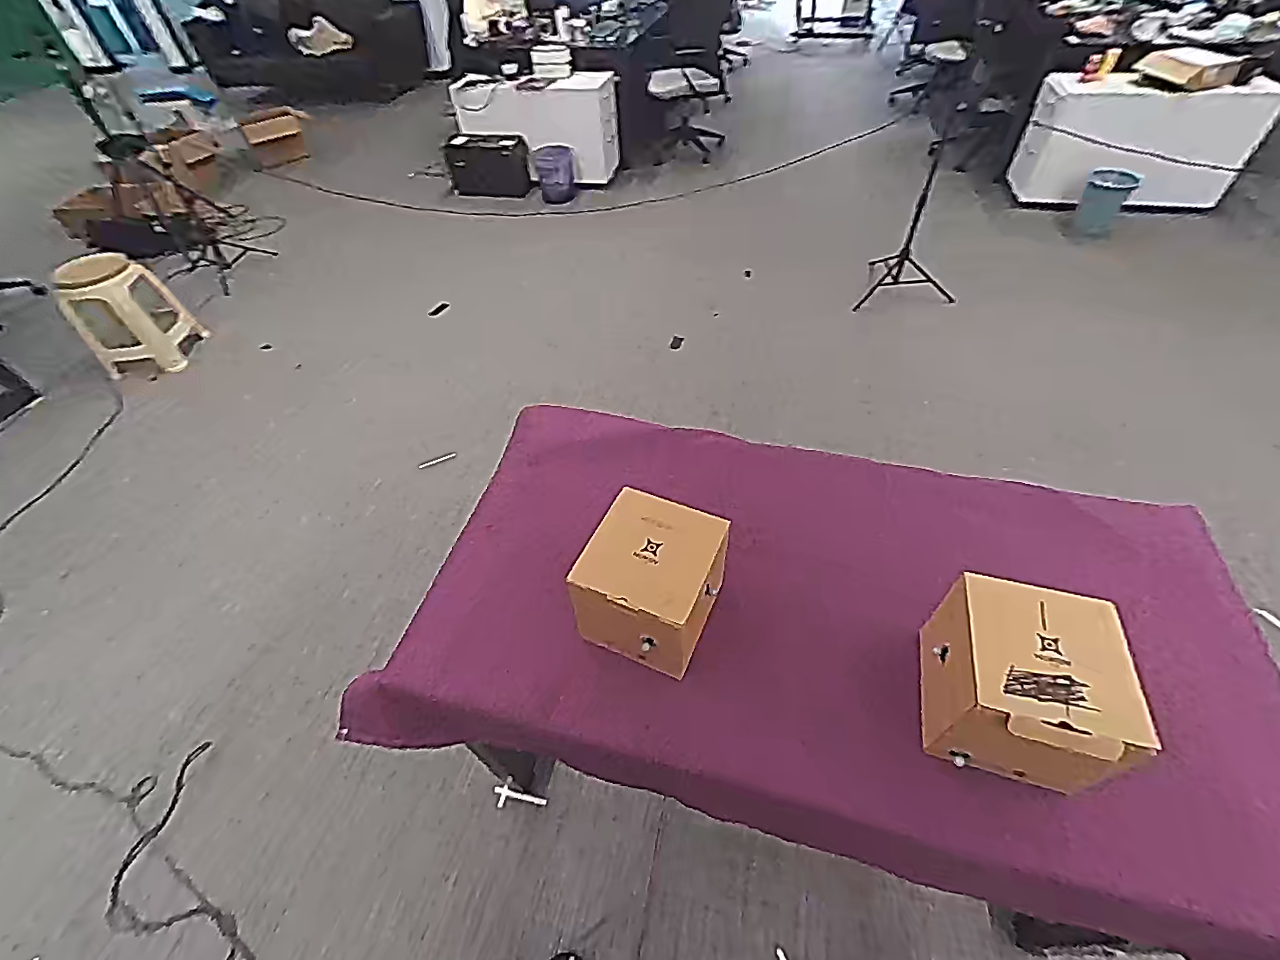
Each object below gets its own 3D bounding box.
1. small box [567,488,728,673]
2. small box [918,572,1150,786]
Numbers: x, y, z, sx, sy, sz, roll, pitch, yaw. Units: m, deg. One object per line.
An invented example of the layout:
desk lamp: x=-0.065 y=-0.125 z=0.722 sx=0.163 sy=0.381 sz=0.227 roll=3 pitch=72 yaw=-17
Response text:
small box: x=0.018 y=0.148 z=0.780 sx=0.168 sy=0.176 sz=0.179 roll=19 pitch=52 yaw=18
small box: x=0.457 y=0.246 z=0.664 sx=0.168 sy=0.176 sz=0.179 roll=12 pitch=49 yaw=13
